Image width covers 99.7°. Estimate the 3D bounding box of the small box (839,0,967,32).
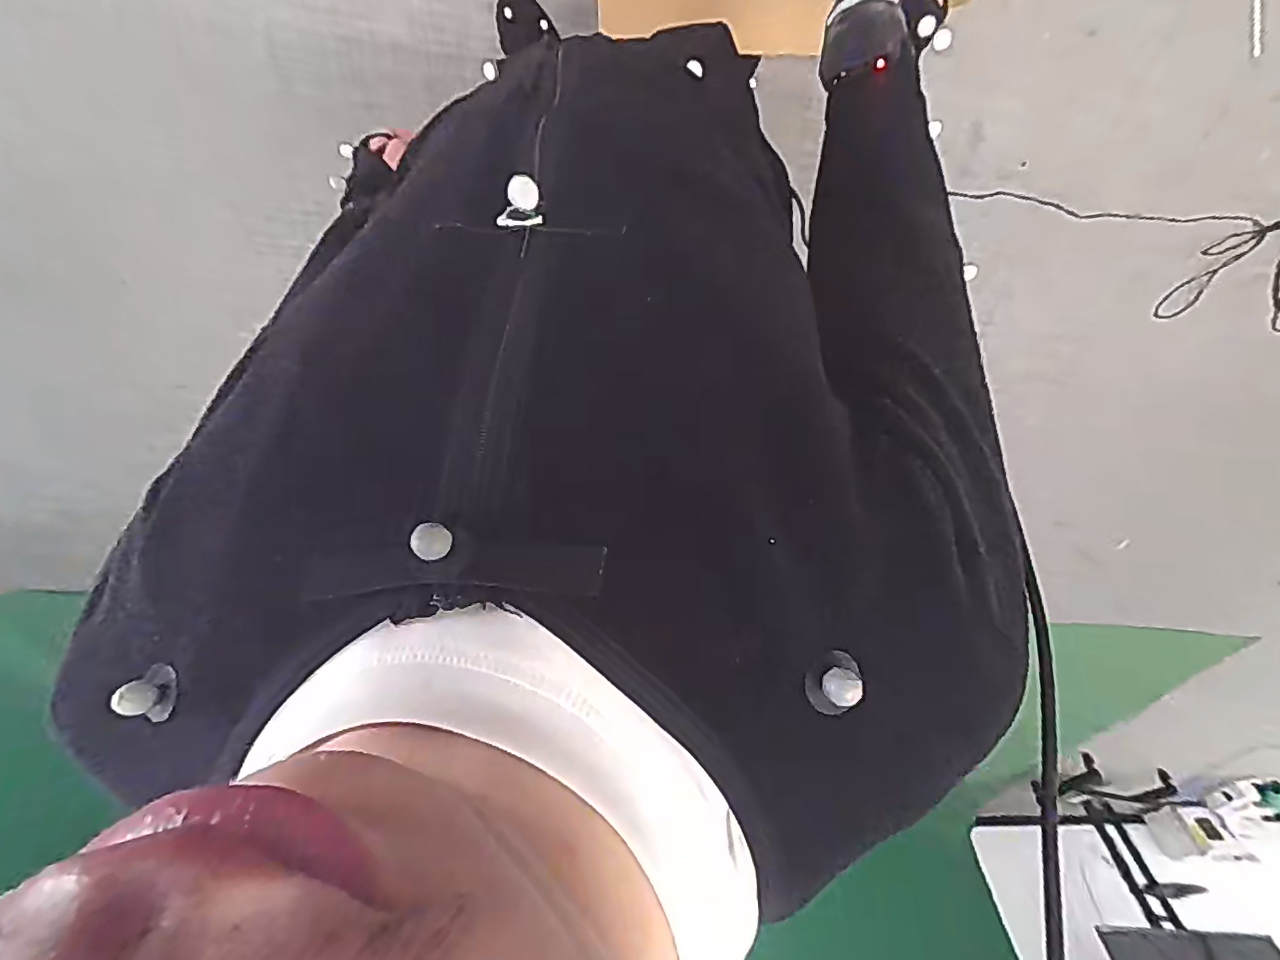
[{"bbox_3d":[0.264,-0.577,0.508,0.168,0.176,0.179,23,110,-26],"label":"small box"}]
